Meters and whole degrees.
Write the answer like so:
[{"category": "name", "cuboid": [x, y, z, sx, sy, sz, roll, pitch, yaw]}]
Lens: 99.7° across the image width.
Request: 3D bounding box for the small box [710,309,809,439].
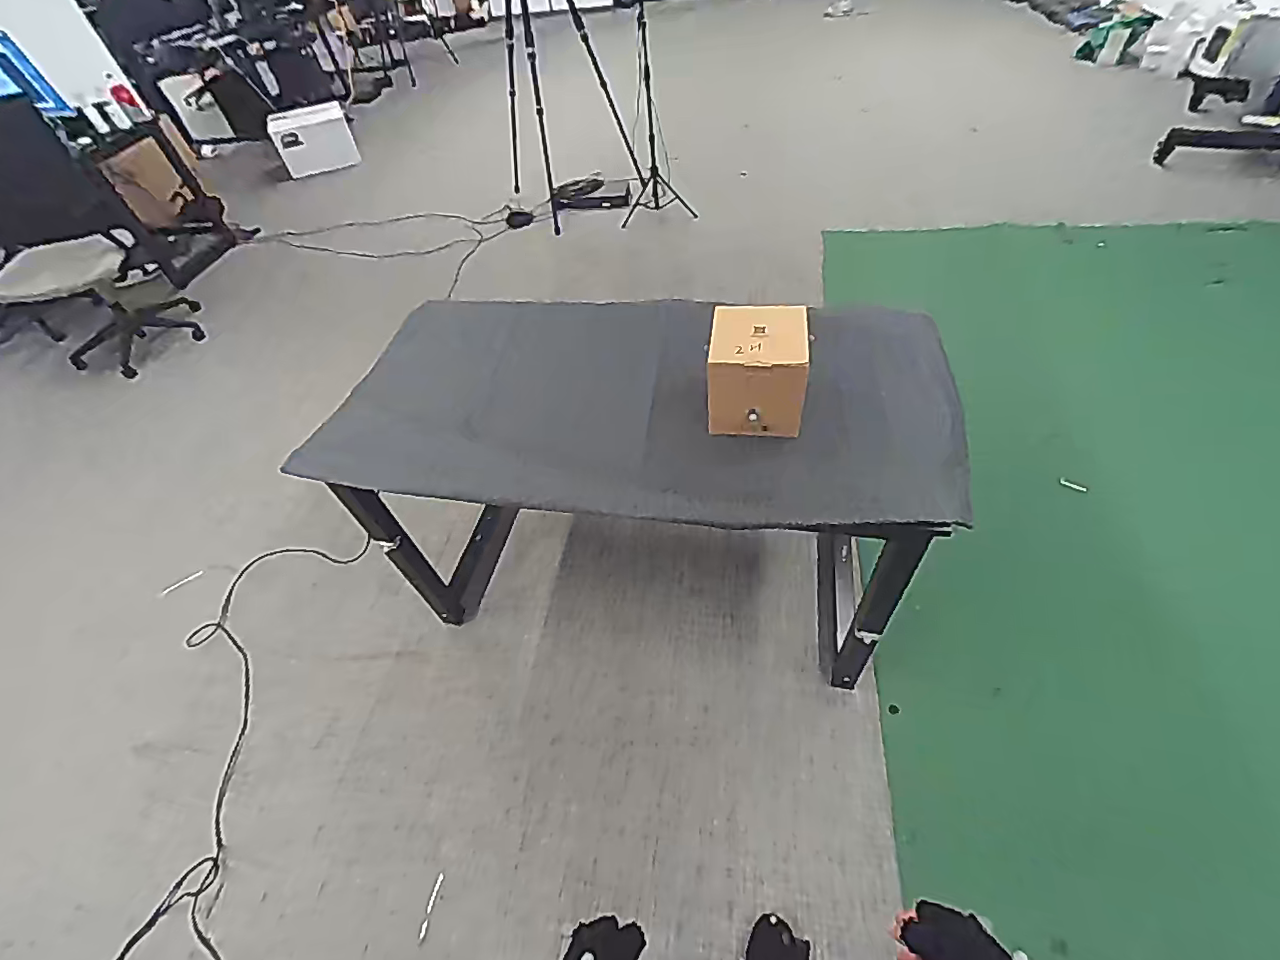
[{"category": "small box", "cuboid": [0.218, -0.198, 1.004, 0.168, 0.176, 0.179, 3, 50, 11]}]
